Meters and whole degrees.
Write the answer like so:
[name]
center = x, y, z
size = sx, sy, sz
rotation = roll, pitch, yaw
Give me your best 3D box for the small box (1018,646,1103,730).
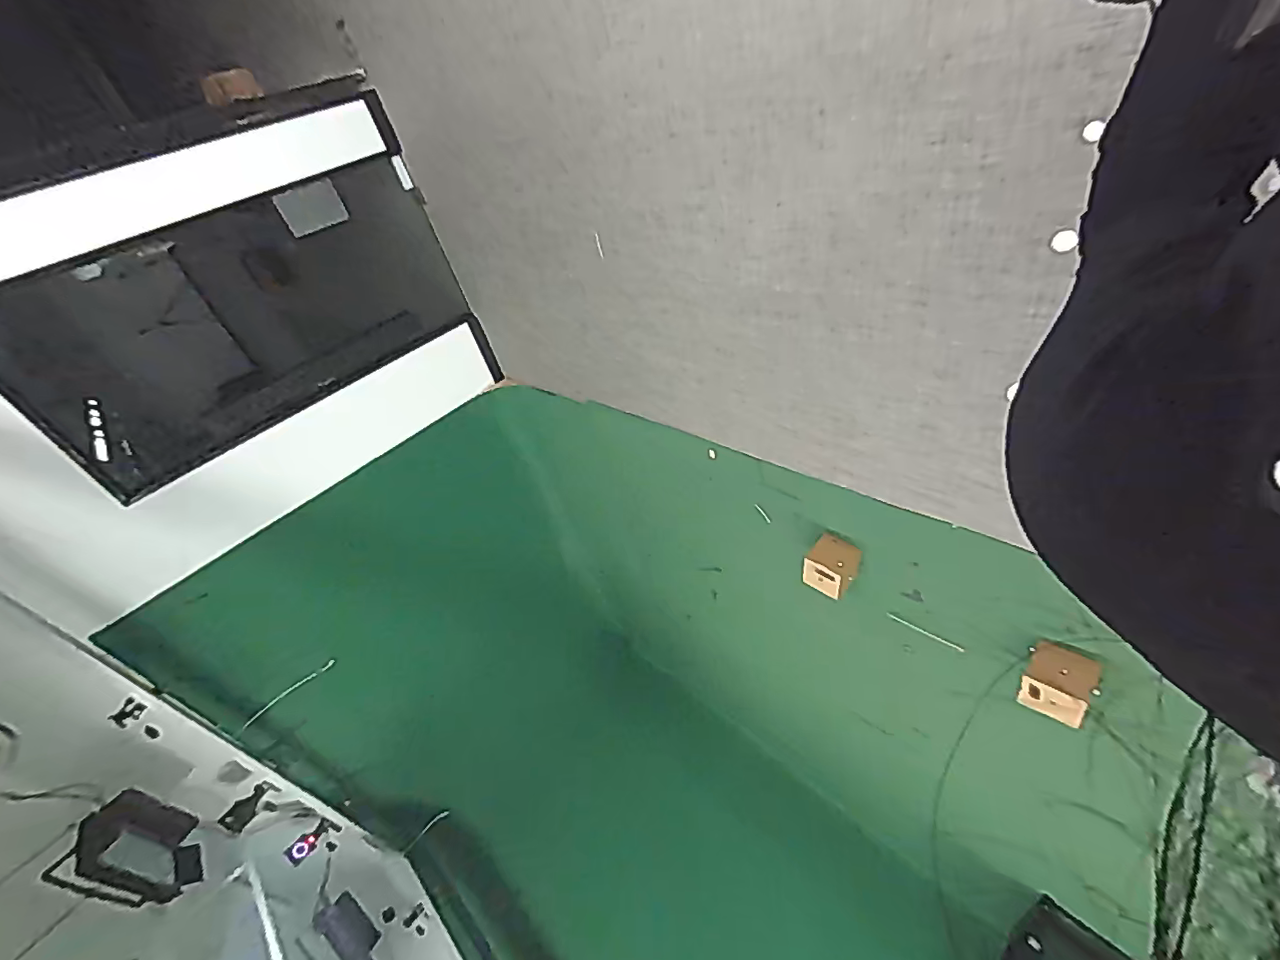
[small box]
center = 1.405, 0.686, 1.809
size = 0.179, 0.176, 0.168
rotation = 21, 141, 42
